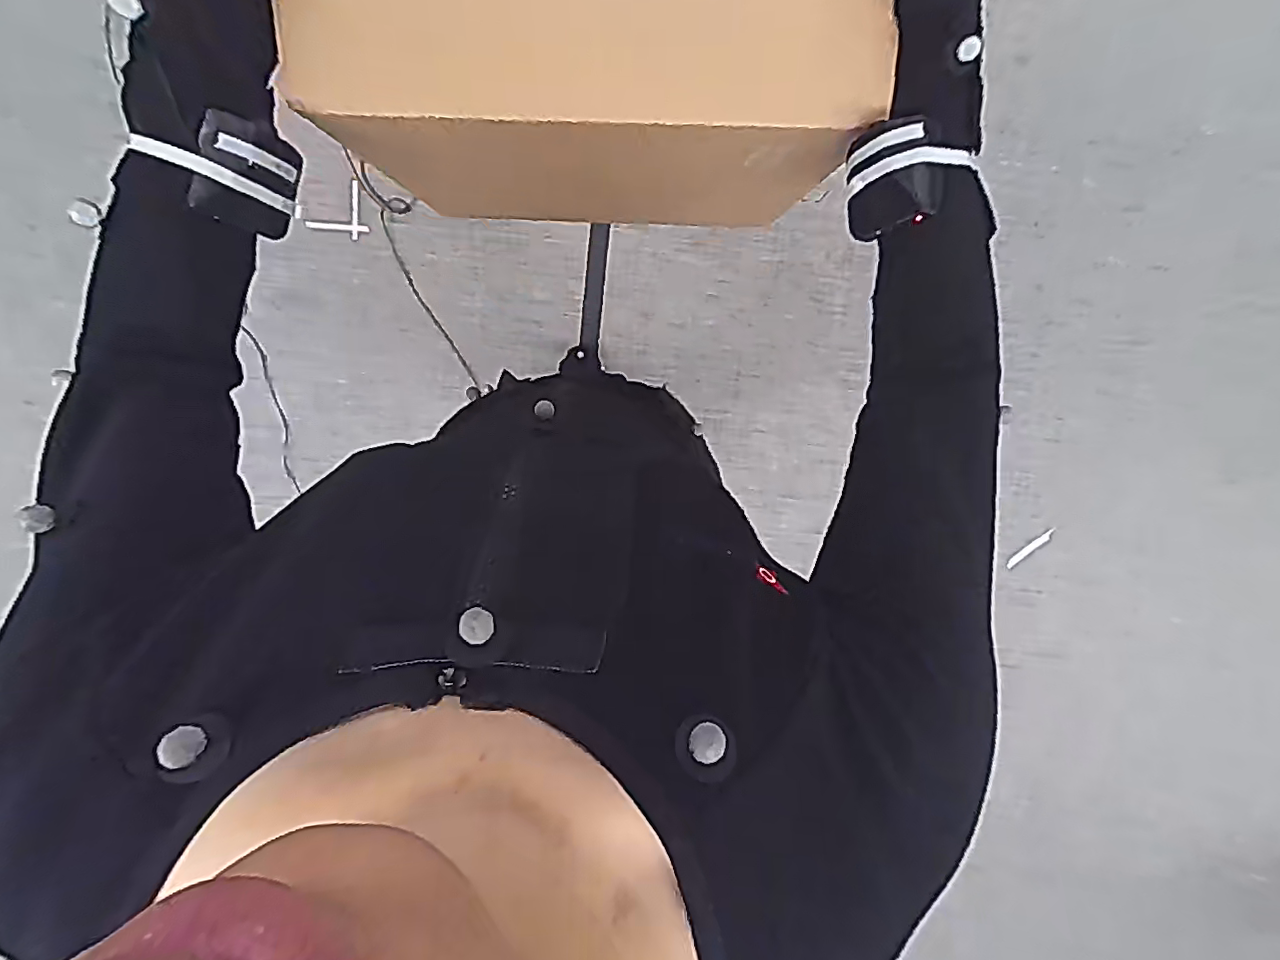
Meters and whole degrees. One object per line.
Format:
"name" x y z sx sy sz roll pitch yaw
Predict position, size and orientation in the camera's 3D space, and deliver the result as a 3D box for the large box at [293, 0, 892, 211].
"large box" -0.034 -0.443 0.479 0.408 0.320 0.320 1 105 -2
